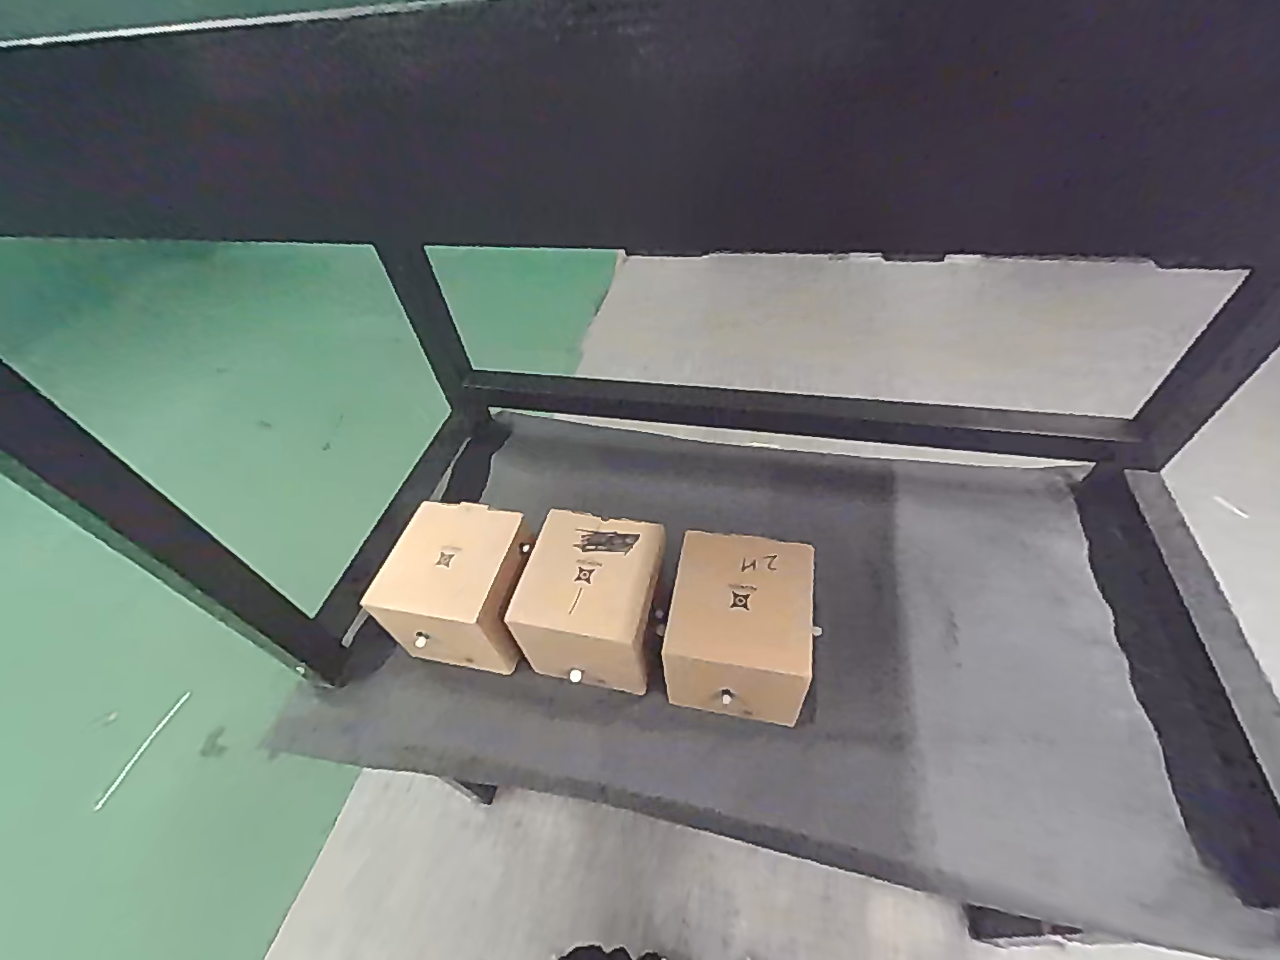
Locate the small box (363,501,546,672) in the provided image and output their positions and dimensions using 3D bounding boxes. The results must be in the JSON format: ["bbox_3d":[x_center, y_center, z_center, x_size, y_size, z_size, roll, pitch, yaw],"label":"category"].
[{"bbox_3d":[-0.251,0.156,0.786,0.168,0.176,0.179,6,49,12],"label":"small box"}]
